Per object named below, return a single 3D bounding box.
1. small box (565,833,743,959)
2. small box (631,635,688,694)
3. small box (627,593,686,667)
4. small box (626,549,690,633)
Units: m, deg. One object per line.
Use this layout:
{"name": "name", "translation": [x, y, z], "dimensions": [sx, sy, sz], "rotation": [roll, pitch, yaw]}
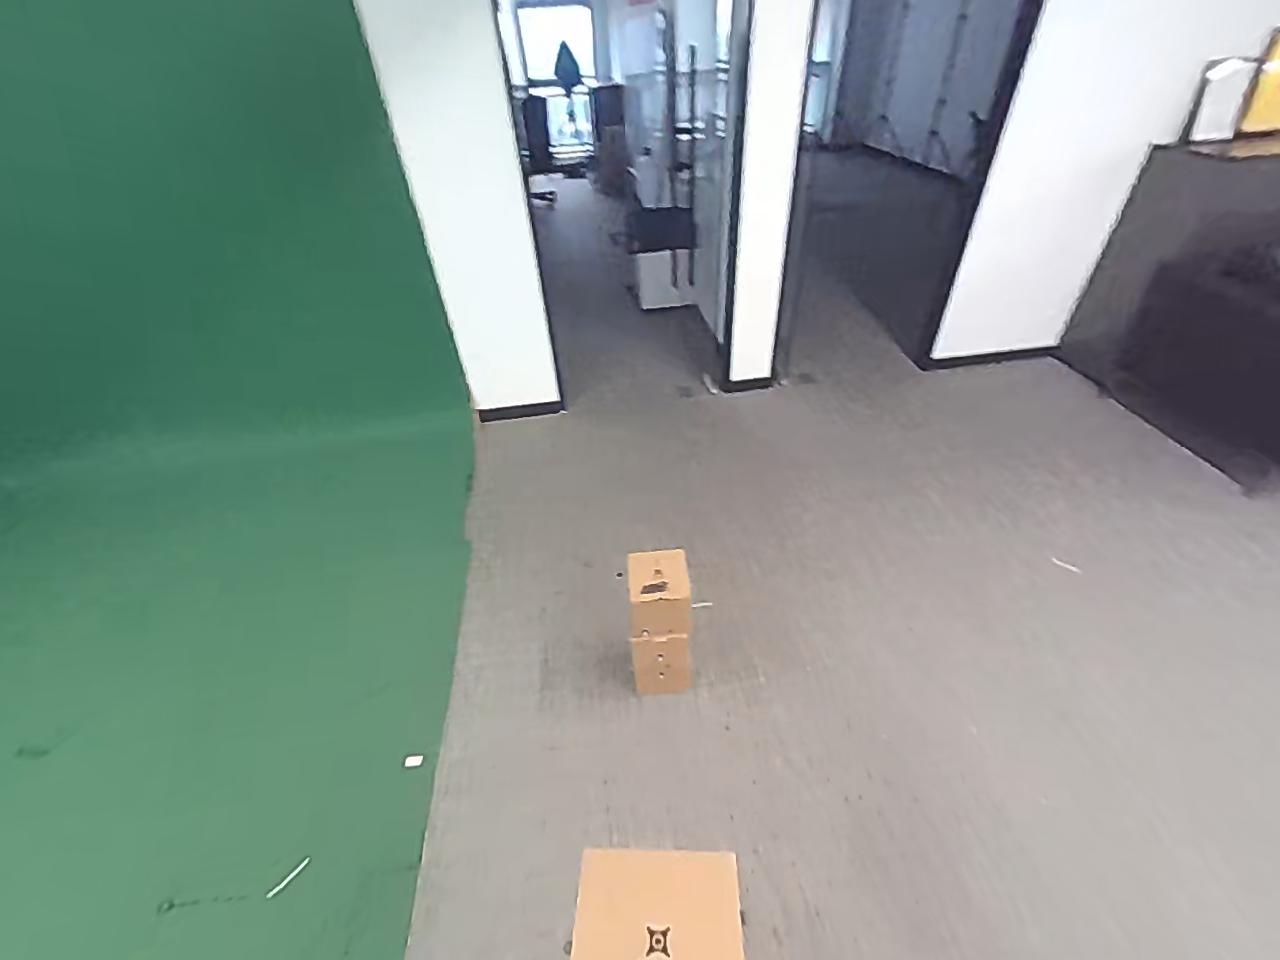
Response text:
{"name": "small box", "translation": [0.019, 0.507, 0.561], "dimensions": [0.168, 0.176, 0.179], "rotation": [1, 38, 11]}
{"name": "small box", "translation": [0.063, 0.573, 1.745], "dimensions": [0.179, 0.176, 0.168], "rotation": [-3, 41, 0]}
{"name": "small box", "translation": [0.050, 0.452, 1.636], "dimensions": [0.168, 0.176, 0.179], "rotation": [-4, 42, 0]}
{"name": "small box", "translation": [0.051, 0.321, 1.535], "dimensions": [0.168, 0.176, 0.179], "rotation": [-5, 40, -1]}
